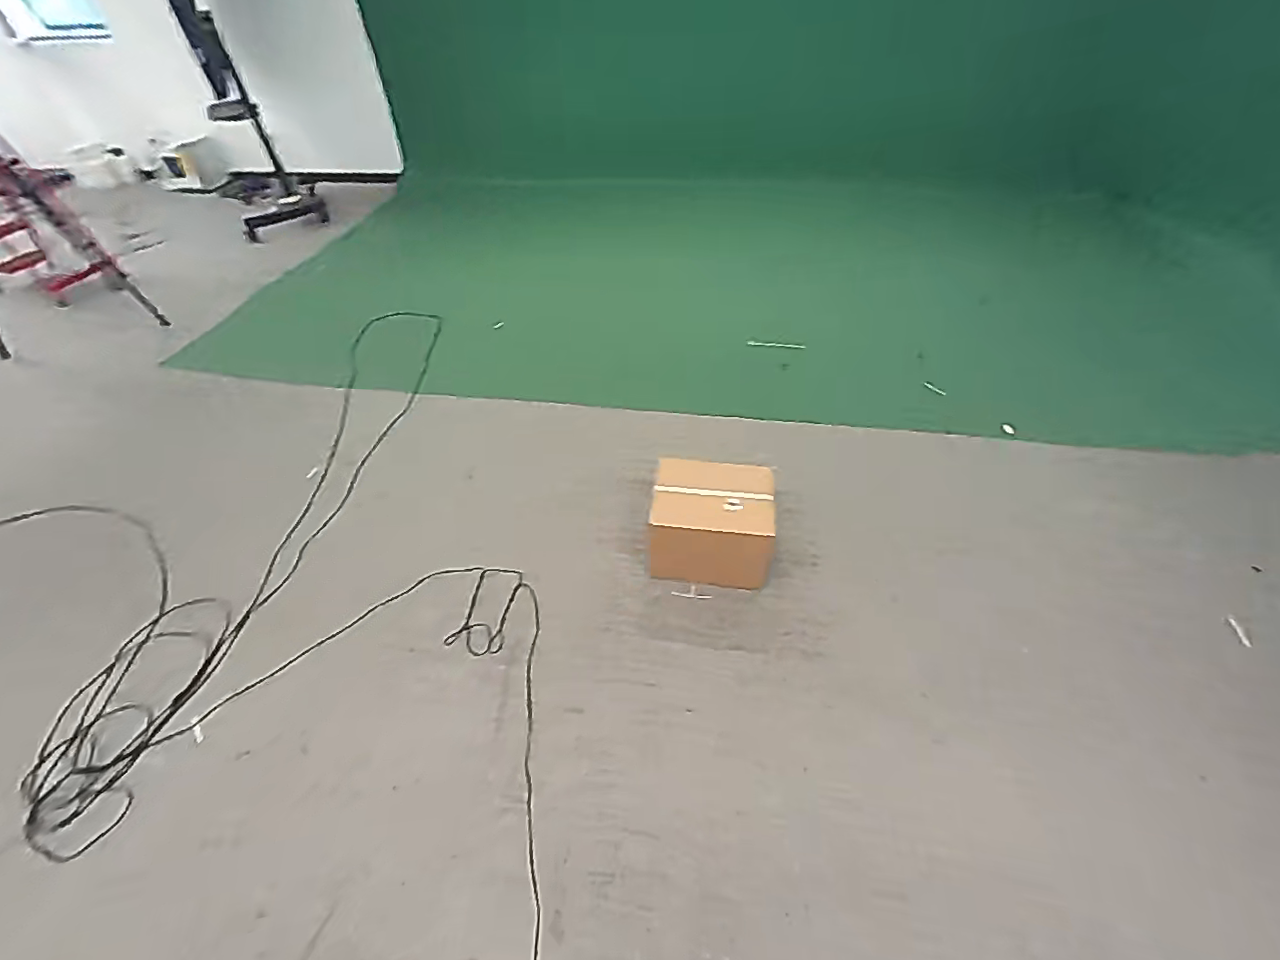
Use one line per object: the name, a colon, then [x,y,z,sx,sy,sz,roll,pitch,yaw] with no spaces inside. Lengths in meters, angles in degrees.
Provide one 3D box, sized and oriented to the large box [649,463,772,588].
large box: [0.243,0.163,1.940,0.408,0.320,0.320,4,46,6]
